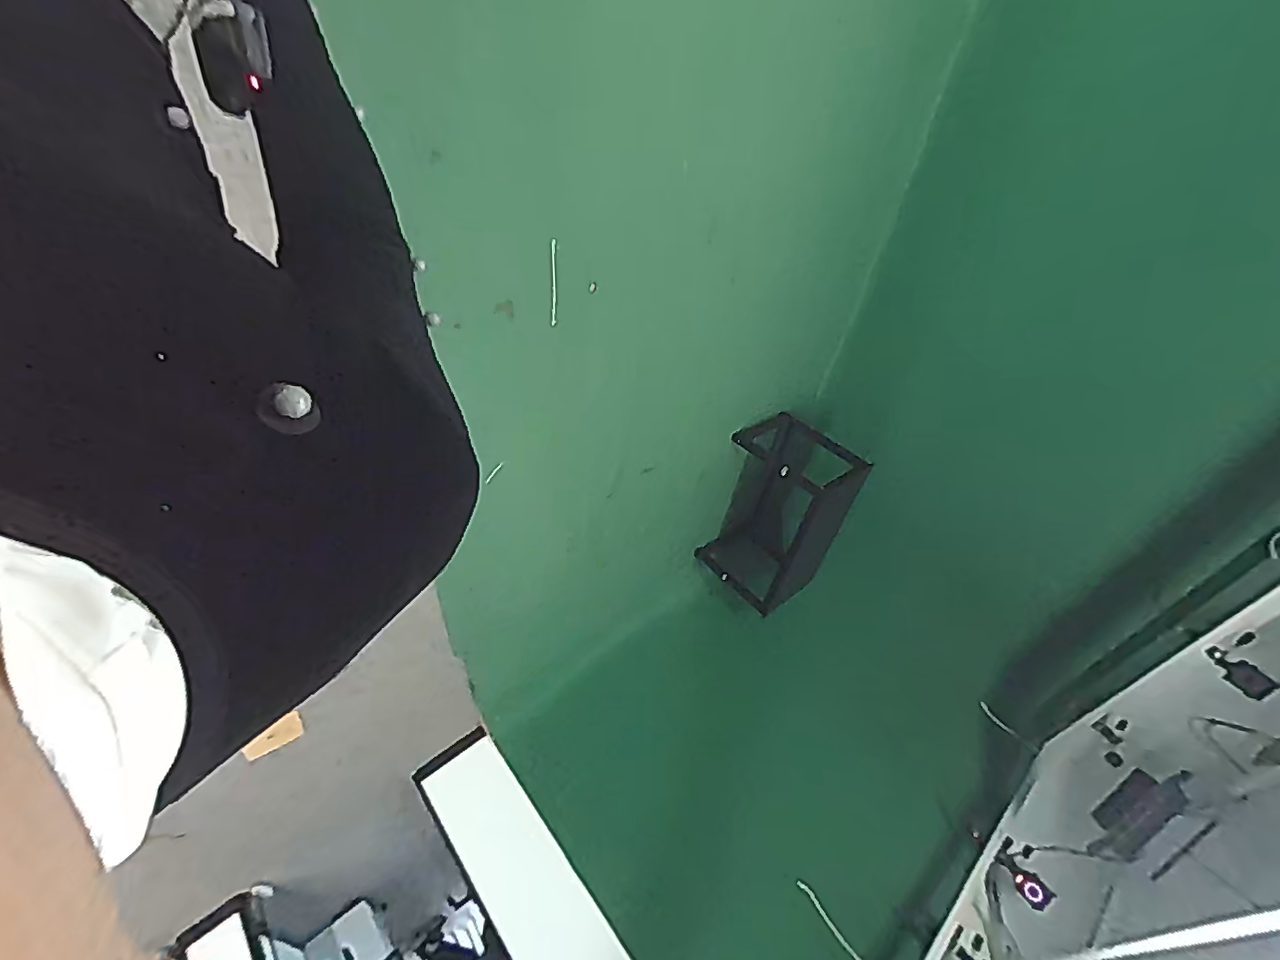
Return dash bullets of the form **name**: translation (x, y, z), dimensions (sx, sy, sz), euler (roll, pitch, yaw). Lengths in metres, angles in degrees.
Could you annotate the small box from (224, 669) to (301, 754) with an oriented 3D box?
- **small box**: translation (-1.312, 0.797, 1.876), dimensions (0.179, 0.176, 0.168), euler (-21, 140, -39)
